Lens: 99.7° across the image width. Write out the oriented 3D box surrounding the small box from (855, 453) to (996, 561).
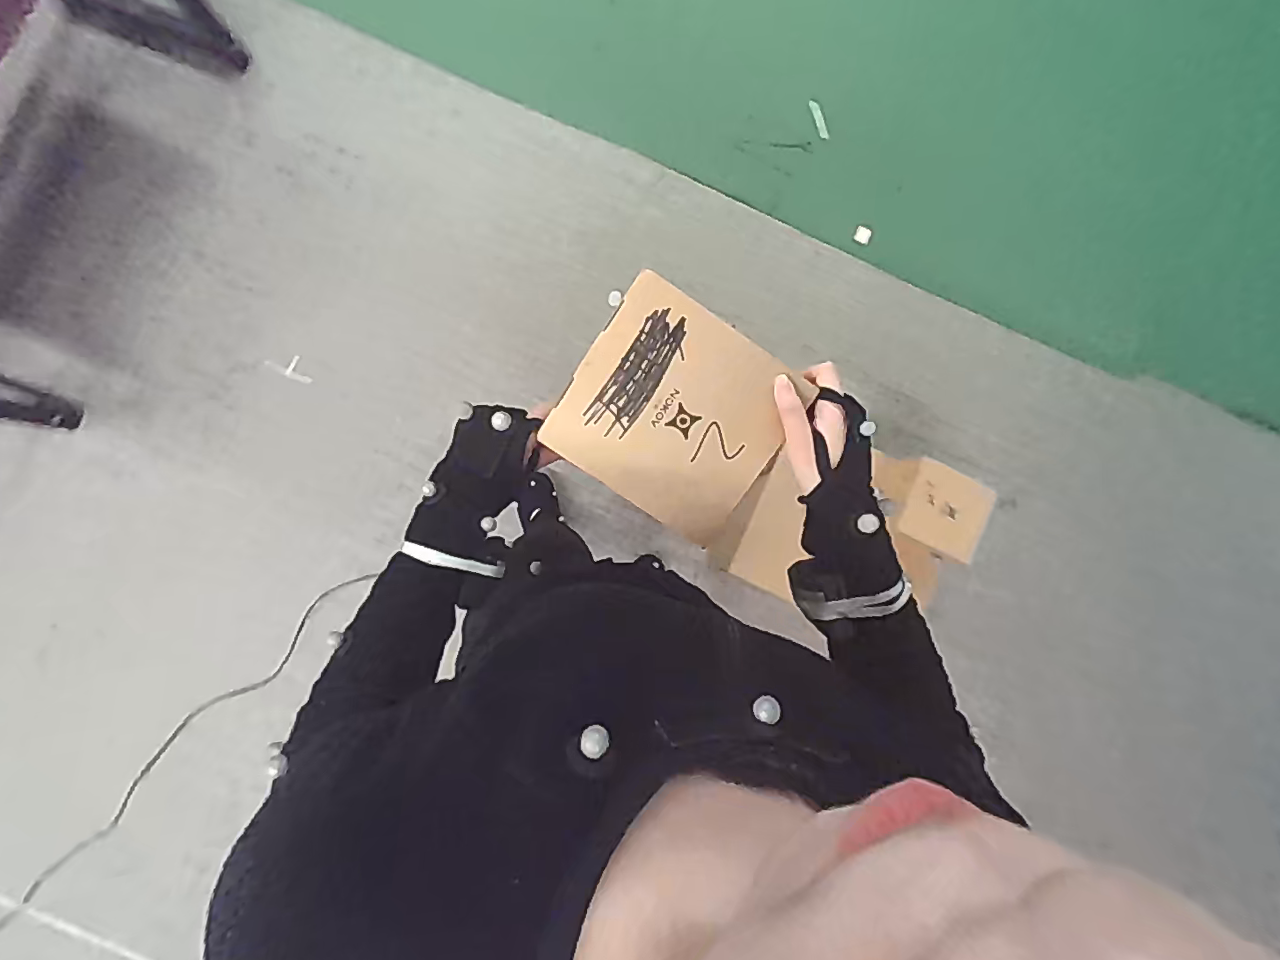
[{"bbox_3d":[0.602,0.057,1.161,0.179,0.176,0.168,25,84,-4],"label":"small box"}]
